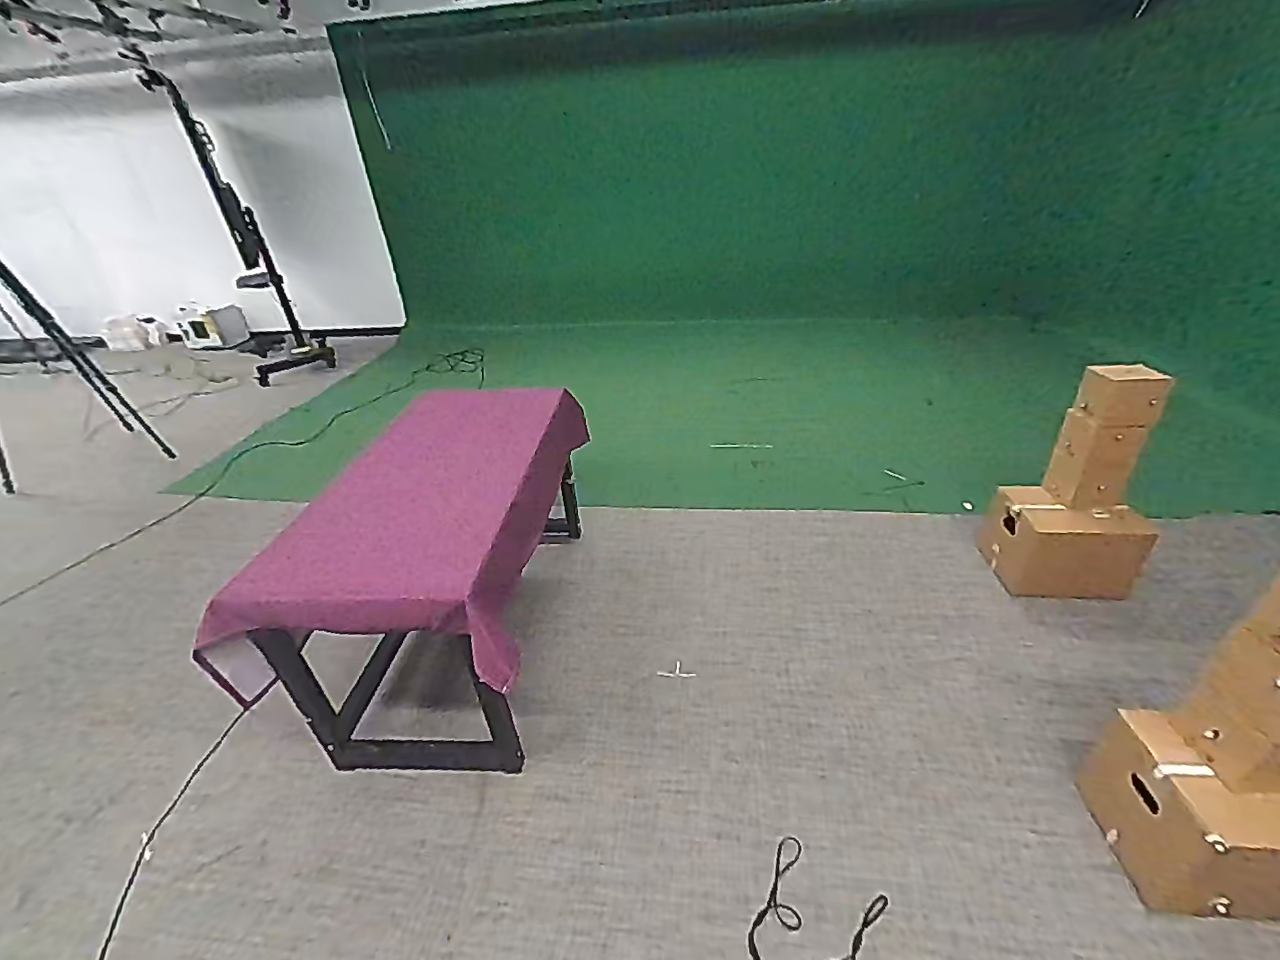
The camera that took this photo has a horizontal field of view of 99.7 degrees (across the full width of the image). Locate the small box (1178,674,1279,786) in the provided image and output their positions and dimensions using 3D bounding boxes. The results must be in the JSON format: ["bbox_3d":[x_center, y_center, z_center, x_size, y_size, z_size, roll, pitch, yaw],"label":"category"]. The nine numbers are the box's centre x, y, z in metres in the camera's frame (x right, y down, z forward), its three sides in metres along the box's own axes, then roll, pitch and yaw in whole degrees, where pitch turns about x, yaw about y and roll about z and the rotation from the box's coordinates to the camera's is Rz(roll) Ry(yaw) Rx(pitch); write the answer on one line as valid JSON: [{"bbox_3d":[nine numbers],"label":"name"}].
[{"bbox_3d":[1.336,0.541,1.174,0.179,0.176,0.168,-2,31,4],"label":"small box"}]

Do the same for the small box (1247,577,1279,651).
[{"bbox_3d":[1.320,0.259,1.003,0.179,0.176,0.168,-4,30,1],"label":"small box"}]

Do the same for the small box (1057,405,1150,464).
[{"bbox_3d":[1.664,-0.164,1.952,0.179,0.176,0.168,-1,29,7],"label":"small box"}]

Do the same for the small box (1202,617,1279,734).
[{"bbox_3d":[1.323,0.399,1.090,0.168,0.176,0.179,-1,31,3],"label":"small box"}]

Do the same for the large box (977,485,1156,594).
[{"bbox_3d":[1.621,0.227,2.100,0.408,0.320,0.320,1,32,6],"label":"large box"}]

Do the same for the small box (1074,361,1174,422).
[{"bbox_3d":[1.661,-0.304,1.868,0.179,0.176,0.168,0,28,8],"label":"small box"}]
